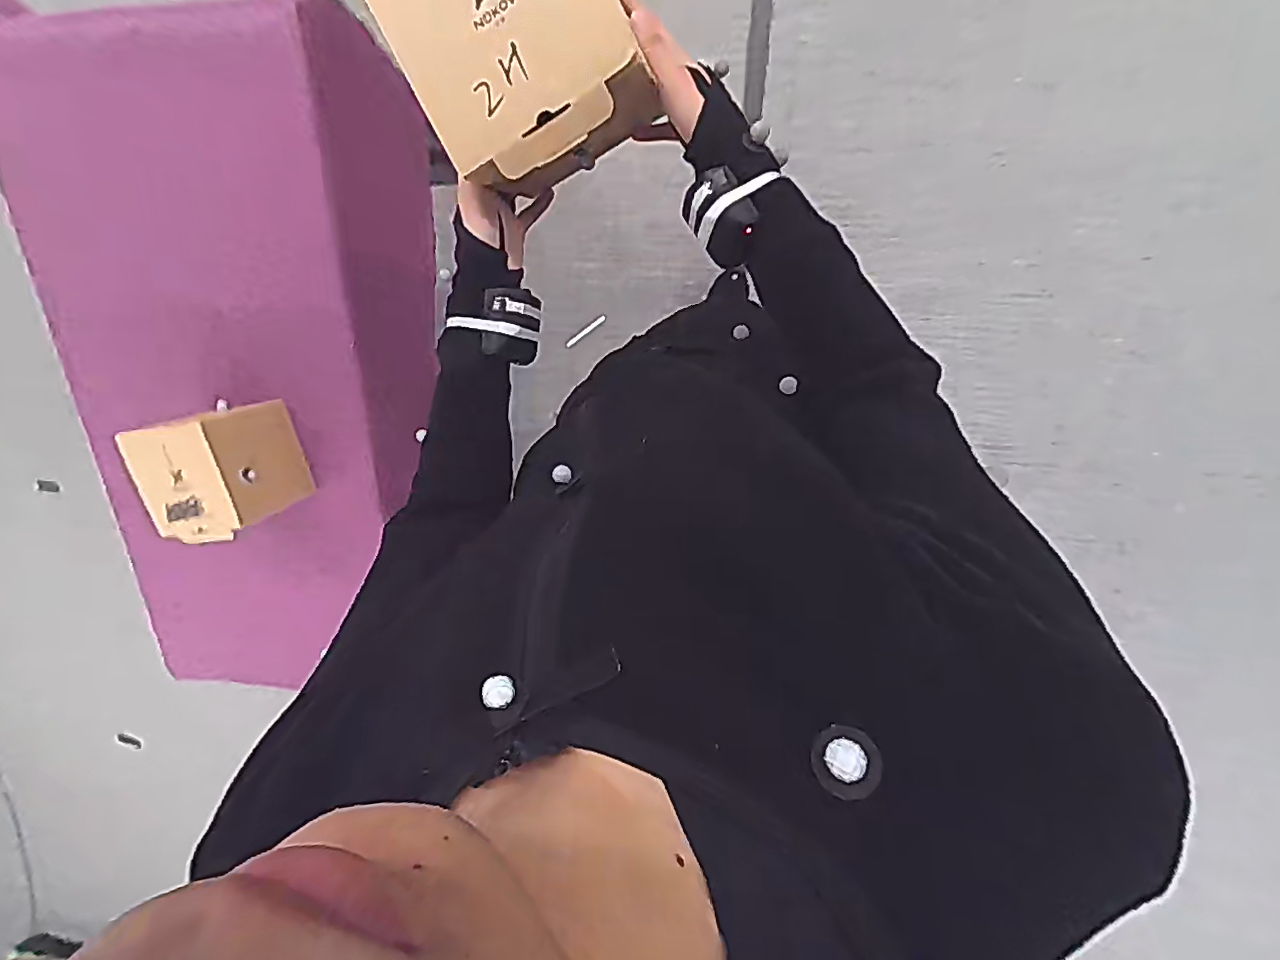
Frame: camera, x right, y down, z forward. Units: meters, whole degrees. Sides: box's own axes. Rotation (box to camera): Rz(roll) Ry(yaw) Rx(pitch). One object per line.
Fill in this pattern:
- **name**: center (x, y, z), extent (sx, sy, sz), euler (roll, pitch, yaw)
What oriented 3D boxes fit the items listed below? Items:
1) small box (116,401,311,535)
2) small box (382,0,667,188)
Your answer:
- **small box**: center (-0.705, -0.024, 0.918), extent (0.168, 0.176, 0.179), euler (-6, 108, 12)
- **small box**: center (-0.089, -0.377, 0.456), extent (0.168, 0.176, 0.179), euler (-21, 108, 17)
